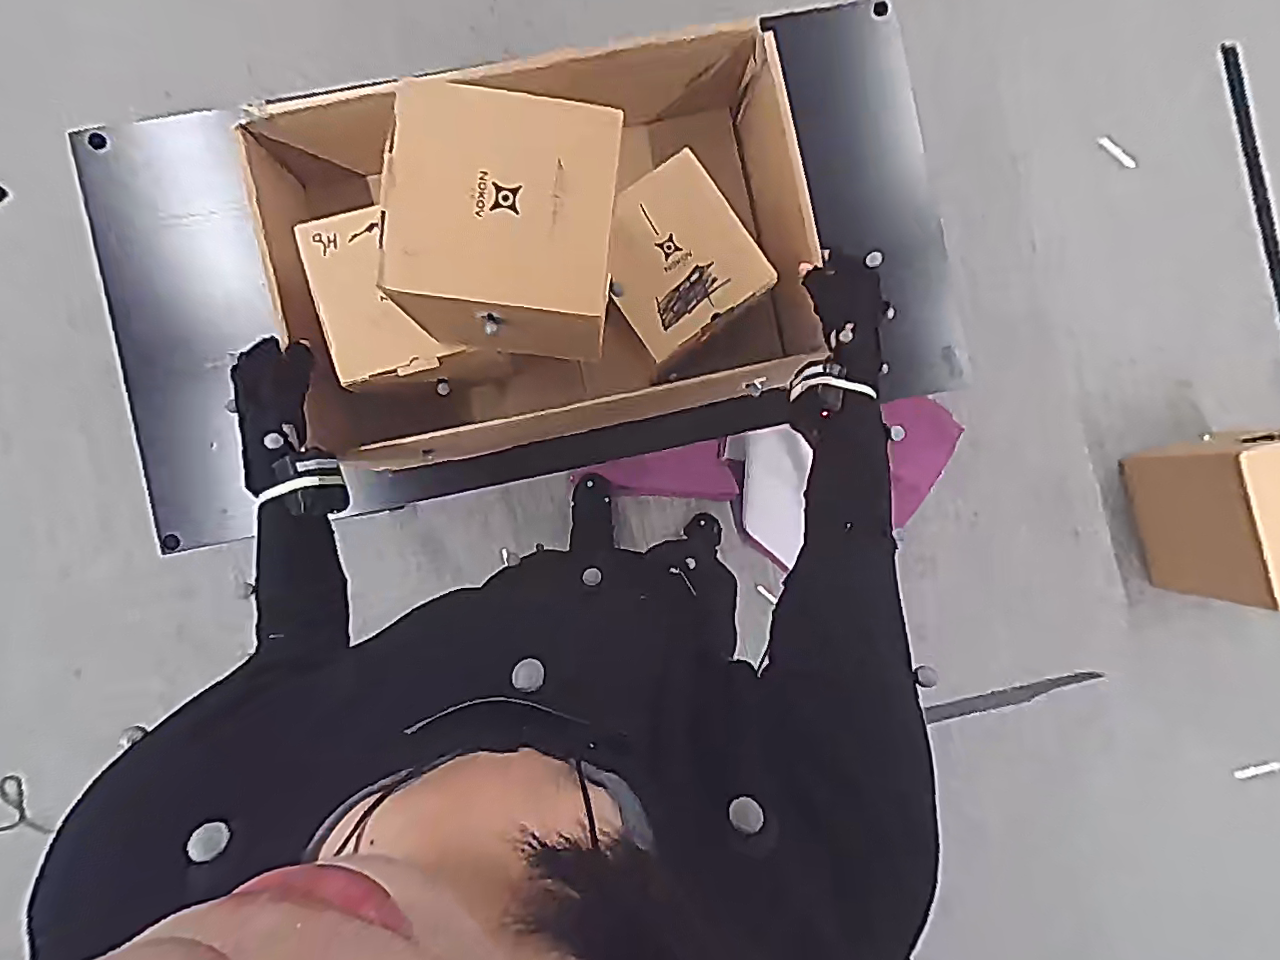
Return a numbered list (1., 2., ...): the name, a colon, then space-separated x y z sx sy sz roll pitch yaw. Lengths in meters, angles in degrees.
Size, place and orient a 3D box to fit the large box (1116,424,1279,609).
1. large box: 1.610 0.083 1.463 0.320 0.320 0.408 -16 91 -3
